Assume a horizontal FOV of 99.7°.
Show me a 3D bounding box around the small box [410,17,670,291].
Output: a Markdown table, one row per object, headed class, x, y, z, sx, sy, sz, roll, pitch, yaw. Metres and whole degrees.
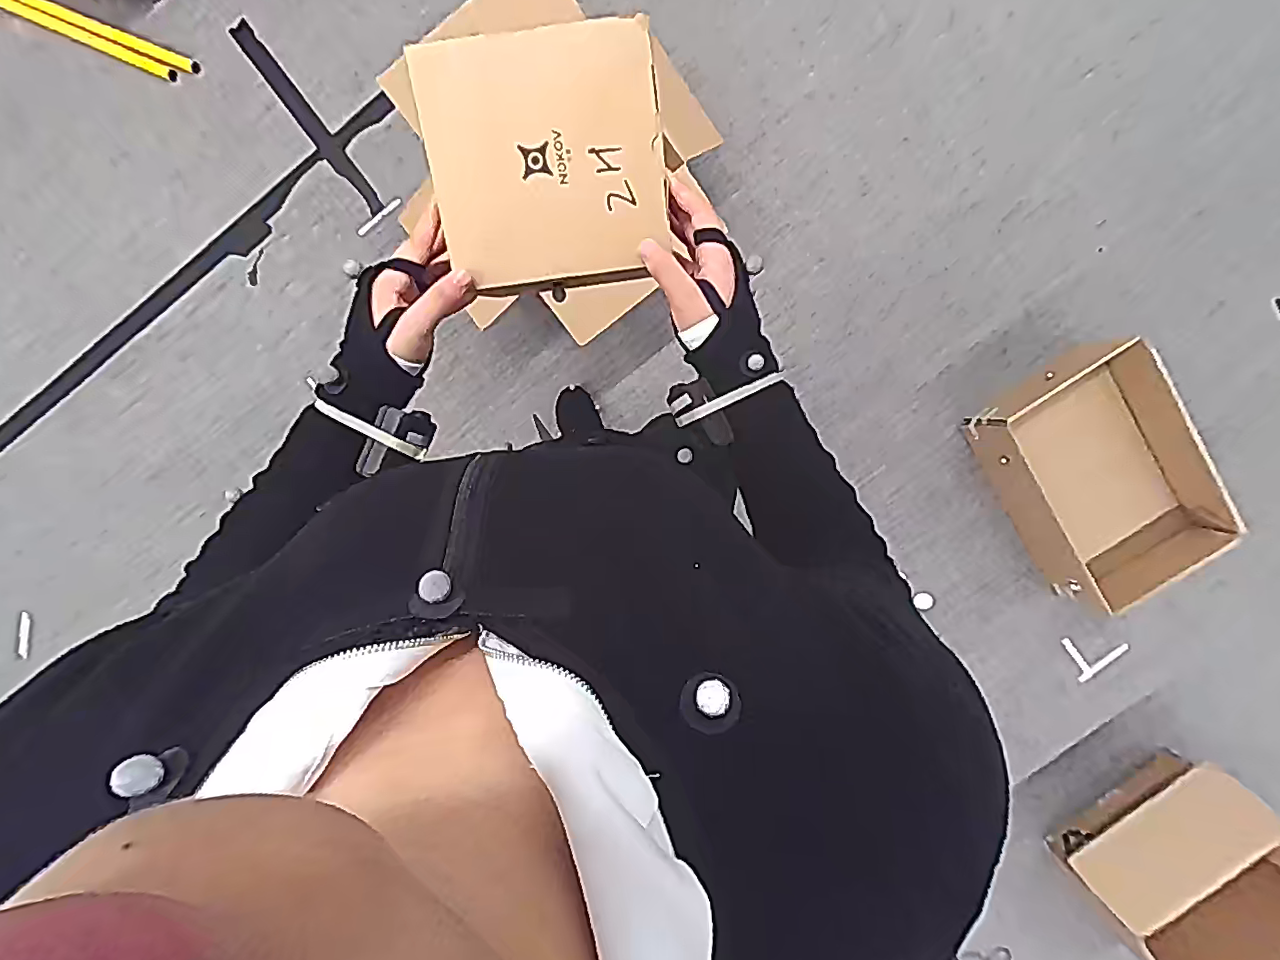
| class | x | y | z | sx | sy | sz | roll | pitch | yaw |
| --- | --- | --- | --- | --- | --- | --- | --- | --- | --- |
| small box | -0.074 | -0.266 | 0.484 | 0.179 | 0.176 | 0.168 | -8 | 108 | -1 |
